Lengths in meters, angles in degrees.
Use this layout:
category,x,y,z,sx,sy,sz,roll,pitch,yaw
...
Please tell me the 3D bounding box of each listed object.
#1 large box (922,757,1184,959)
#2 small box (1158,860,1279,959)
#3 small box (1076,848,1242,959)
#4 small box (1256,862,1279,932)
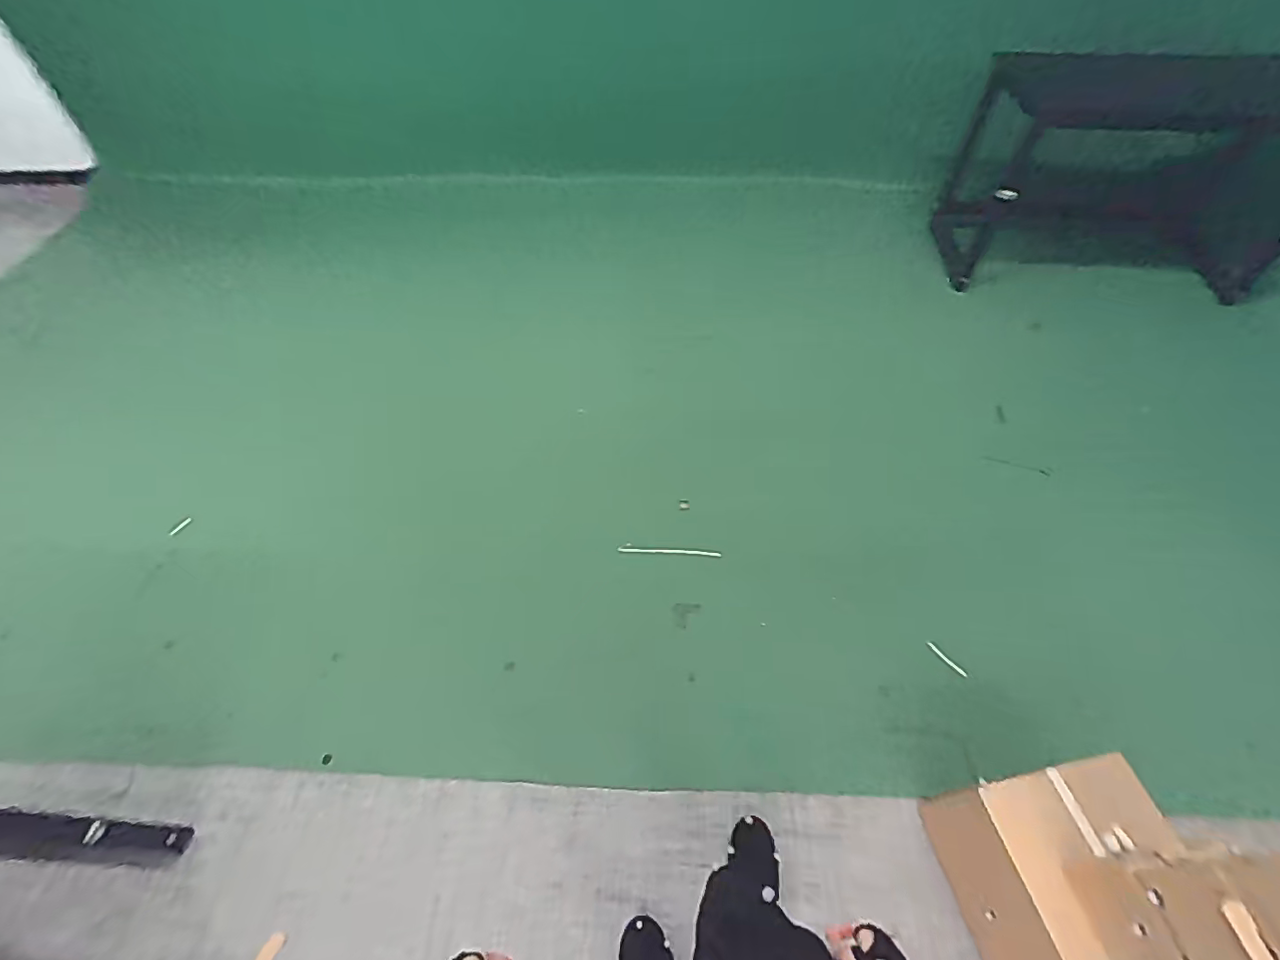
category,x,y,z,sx,sy,sz,roll,pitch,yaw
large box,0.836,0.814,1.043,0.320,0.320,0.408,-9,52,-6
small box,0.836,0.597,0.695,0.179,0.176,0.168,-6,53,-1
small box,0.835,0.688,0.832,0.168,0.176,0.179,-8,53,-2
small box,0.832,0.494,0.566,0.179,0.176,0.168,-8,53,-1
